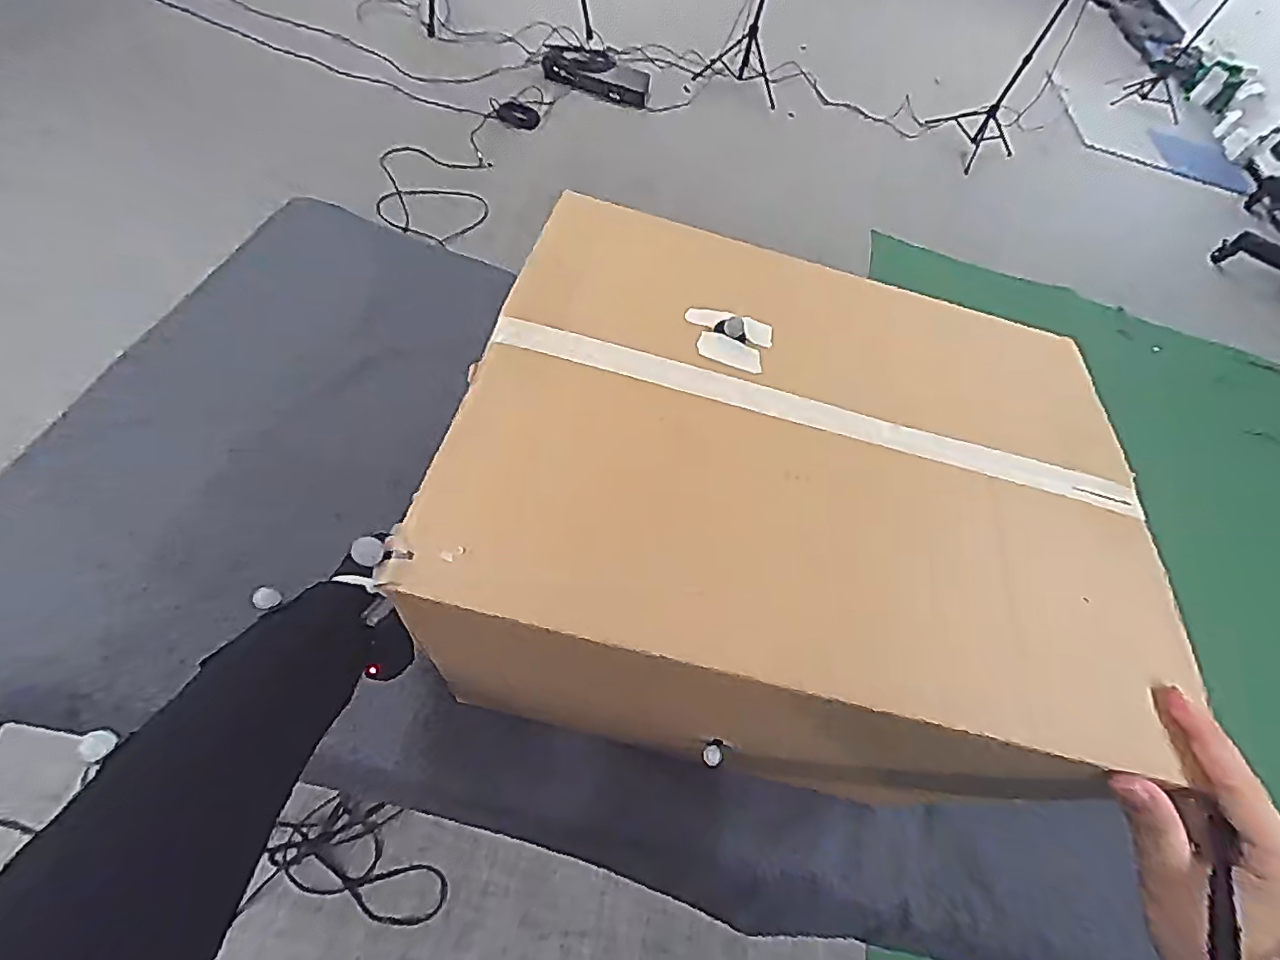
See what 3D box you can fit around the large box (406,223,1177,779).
[{"bbox_3d":[0.086,0.050,0.467,0.408,0.320,0.320,14,58,-2],"label":"large box"}]
